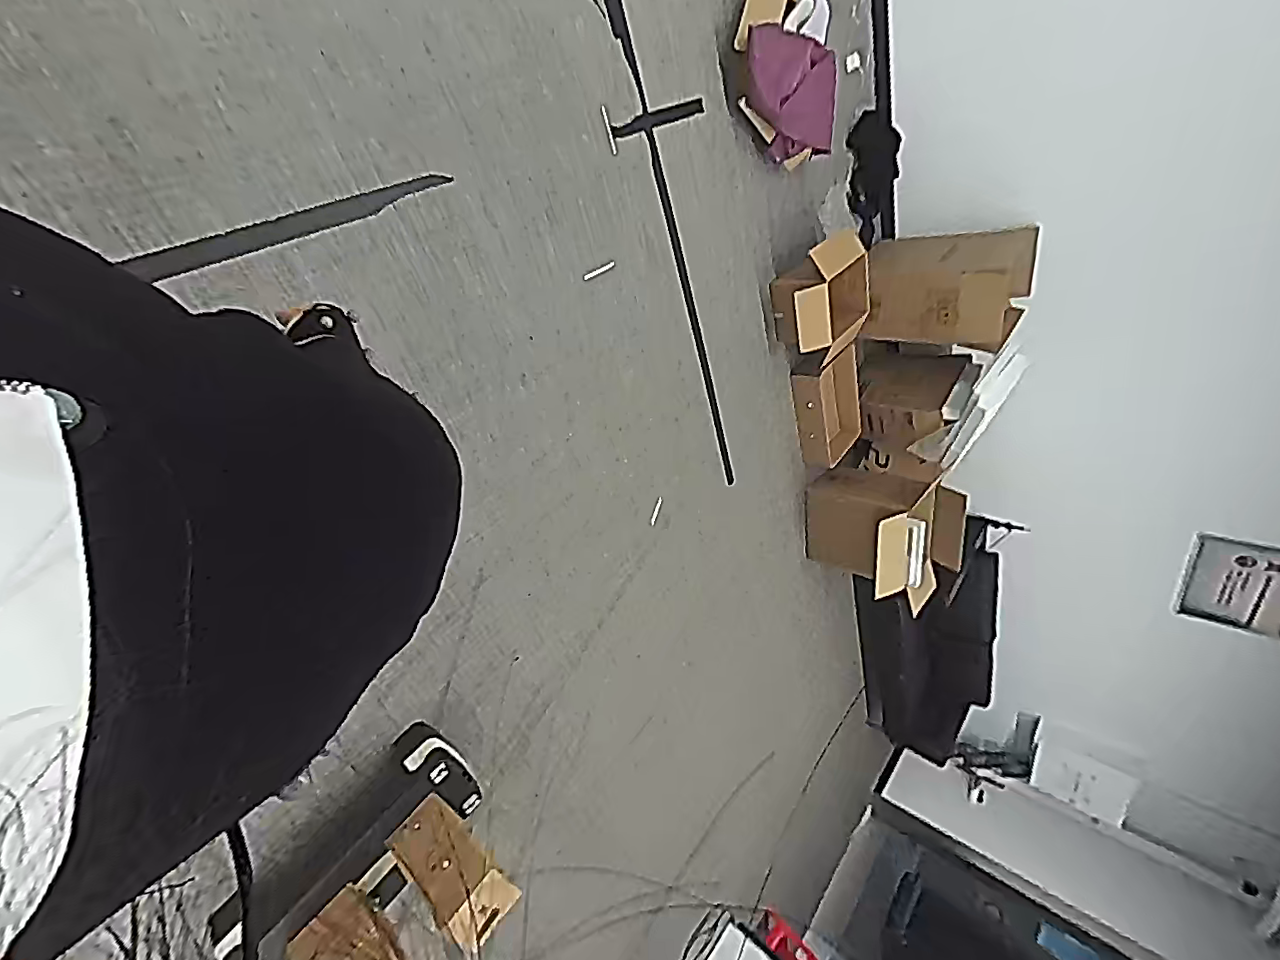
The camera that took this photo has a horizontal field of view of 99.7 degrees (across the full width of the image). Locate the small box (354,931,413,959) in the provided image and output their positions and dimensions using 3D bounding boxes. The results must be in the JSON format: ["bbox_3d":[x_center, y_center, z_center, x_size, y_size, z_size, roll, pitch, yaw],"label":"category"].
[{"bbox_3d":[-0.629,1.249,1.298,0.179,0.176,0.168,-41,128,-34],"label":"small box"}]

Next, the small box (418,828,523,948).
[{"bbox_3d":[-0.449,1.073,1.433,0.168,0.176,0.179,-44,129,-29],"label":"small box"}]

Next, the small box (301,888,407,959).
[{"bbox_3d":[-0.748,1.200,1.398,0.179,0.176,0.168,-42,130,-31],"label":"small box"}]

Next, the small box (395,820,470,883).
[{"bbox_3d":[-0.569,1.038,1.539,0.168,0.176,0.179,-43,129,-30],"label":"small box"}]

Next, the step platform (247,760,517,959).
[{"bbox_3d":[-0.662,1.102,1.407,0.684,0.204,0.286,-42,129,-30],"label":"step platform"}]
